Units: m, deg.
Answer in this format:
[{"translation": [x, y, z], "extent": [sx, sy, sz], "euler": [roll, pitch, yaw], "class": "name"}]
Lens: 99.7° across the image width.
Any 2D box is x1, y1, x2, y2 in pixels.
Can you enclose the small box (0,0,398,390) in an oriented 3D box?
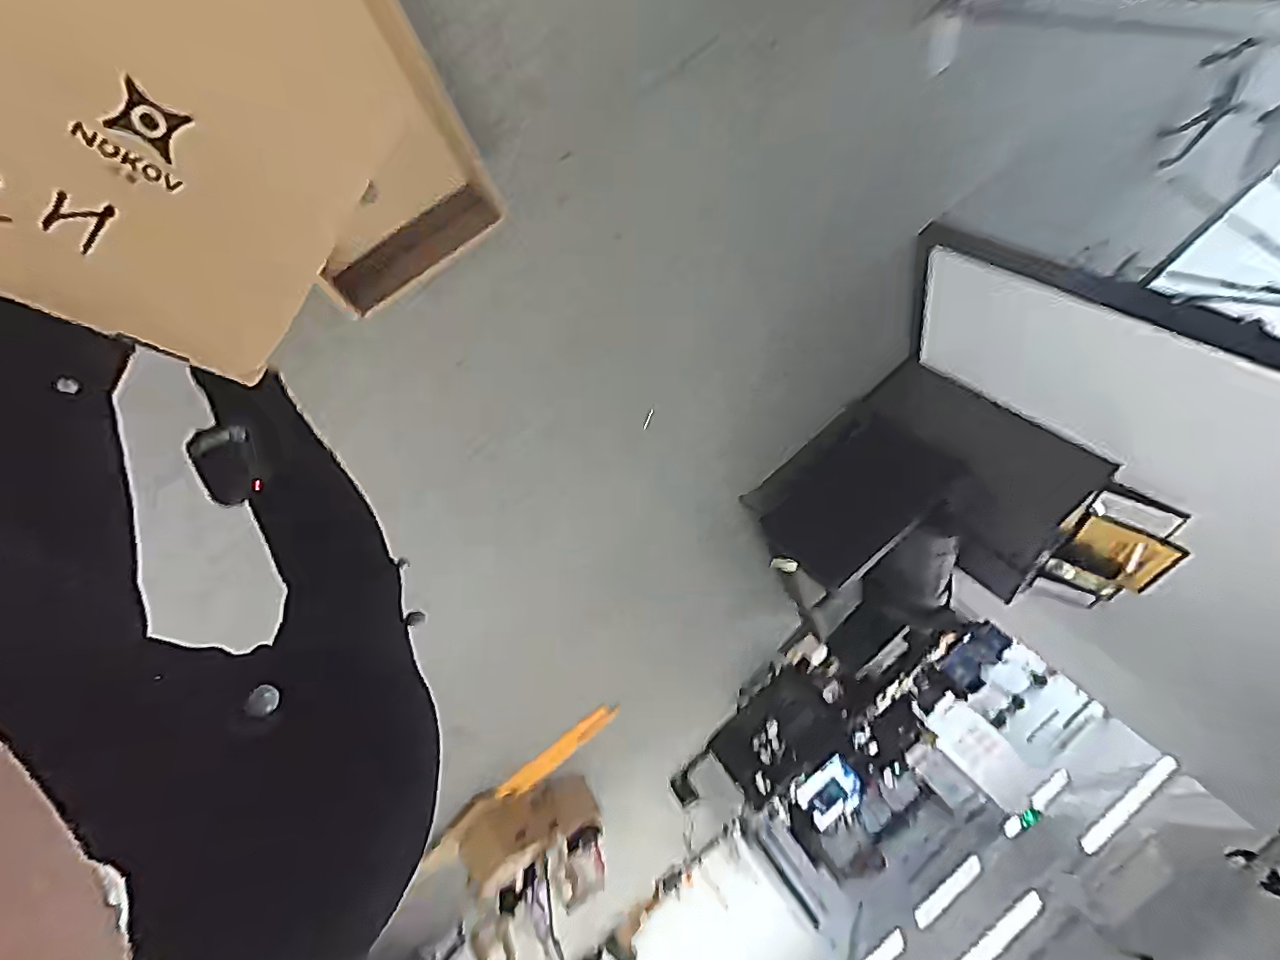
[{"translation": [-0.264, -0.179, 0.274], "extent": [0.168, 0.176, 0.179], "euler": [25, 98, -50], "class": "small box"}]
